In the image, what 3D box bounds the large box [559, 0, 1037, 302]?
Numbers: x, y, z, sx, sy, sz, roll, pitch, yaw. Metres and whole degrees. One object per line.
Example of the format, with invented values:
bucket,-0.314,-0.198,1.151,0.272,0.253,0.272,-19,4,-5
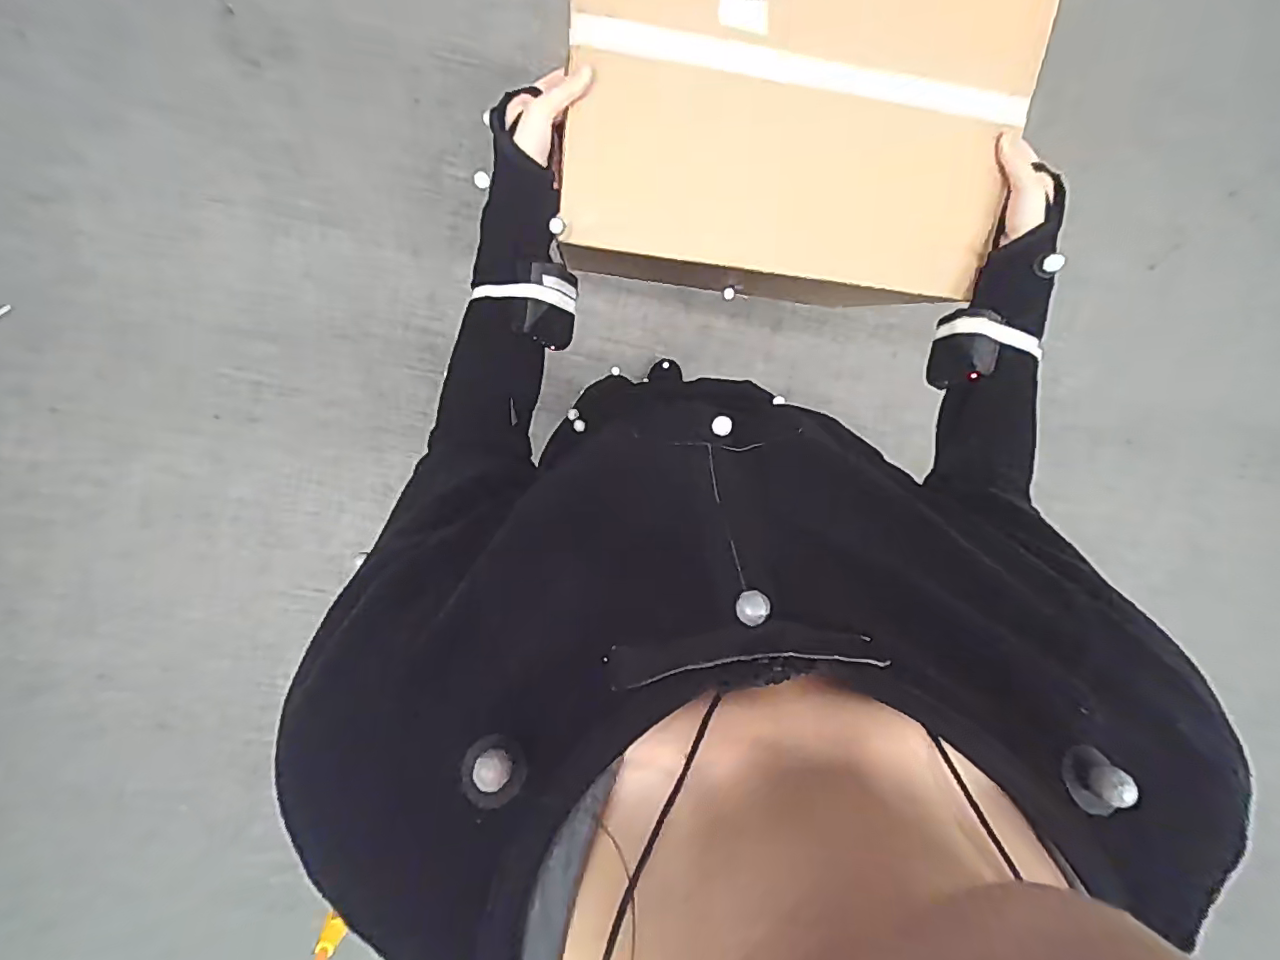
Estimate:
large box,0.127,-0.383,0.614,0.408,0.320,0.320,5,105,-6
